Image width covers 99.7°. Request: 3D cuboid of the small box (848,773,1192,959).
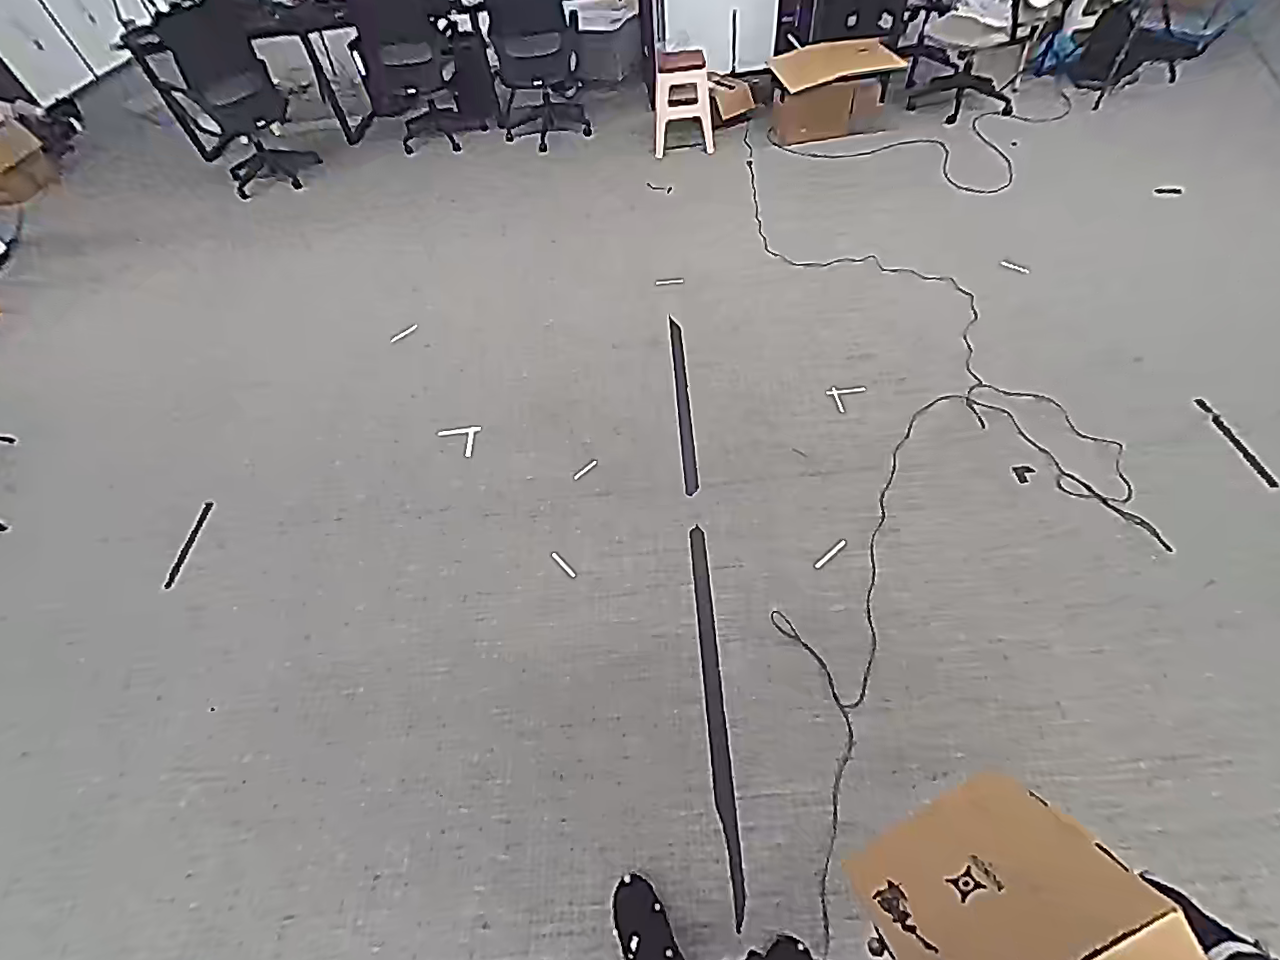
[{"bbox_3d":[0.312,0.393,0.438,0.179,0.168,0.176,-30,91,-1],"label":"small box"}]
